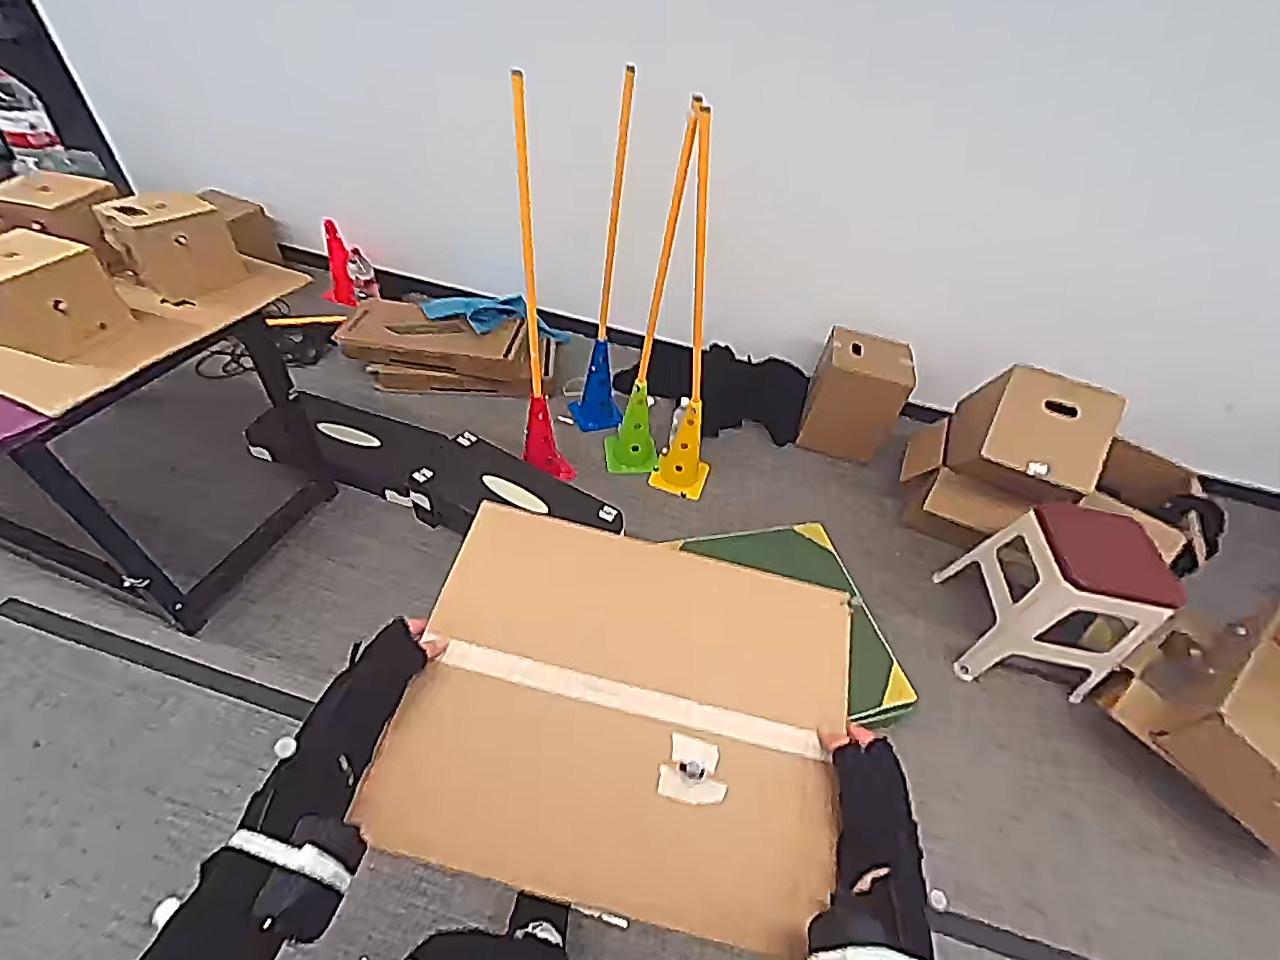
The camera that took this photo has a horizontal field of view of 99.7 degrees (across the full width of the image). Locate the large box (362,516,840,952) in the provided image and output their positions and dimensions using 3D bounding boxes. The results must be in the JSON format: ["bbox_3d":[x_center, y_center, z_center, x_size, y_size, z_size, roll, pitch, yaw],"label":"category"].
[{"bbox_3d":[-0.024,0.284,0.642,0.408,0.320,0.320,14,60,1],"label":"large box"}]
